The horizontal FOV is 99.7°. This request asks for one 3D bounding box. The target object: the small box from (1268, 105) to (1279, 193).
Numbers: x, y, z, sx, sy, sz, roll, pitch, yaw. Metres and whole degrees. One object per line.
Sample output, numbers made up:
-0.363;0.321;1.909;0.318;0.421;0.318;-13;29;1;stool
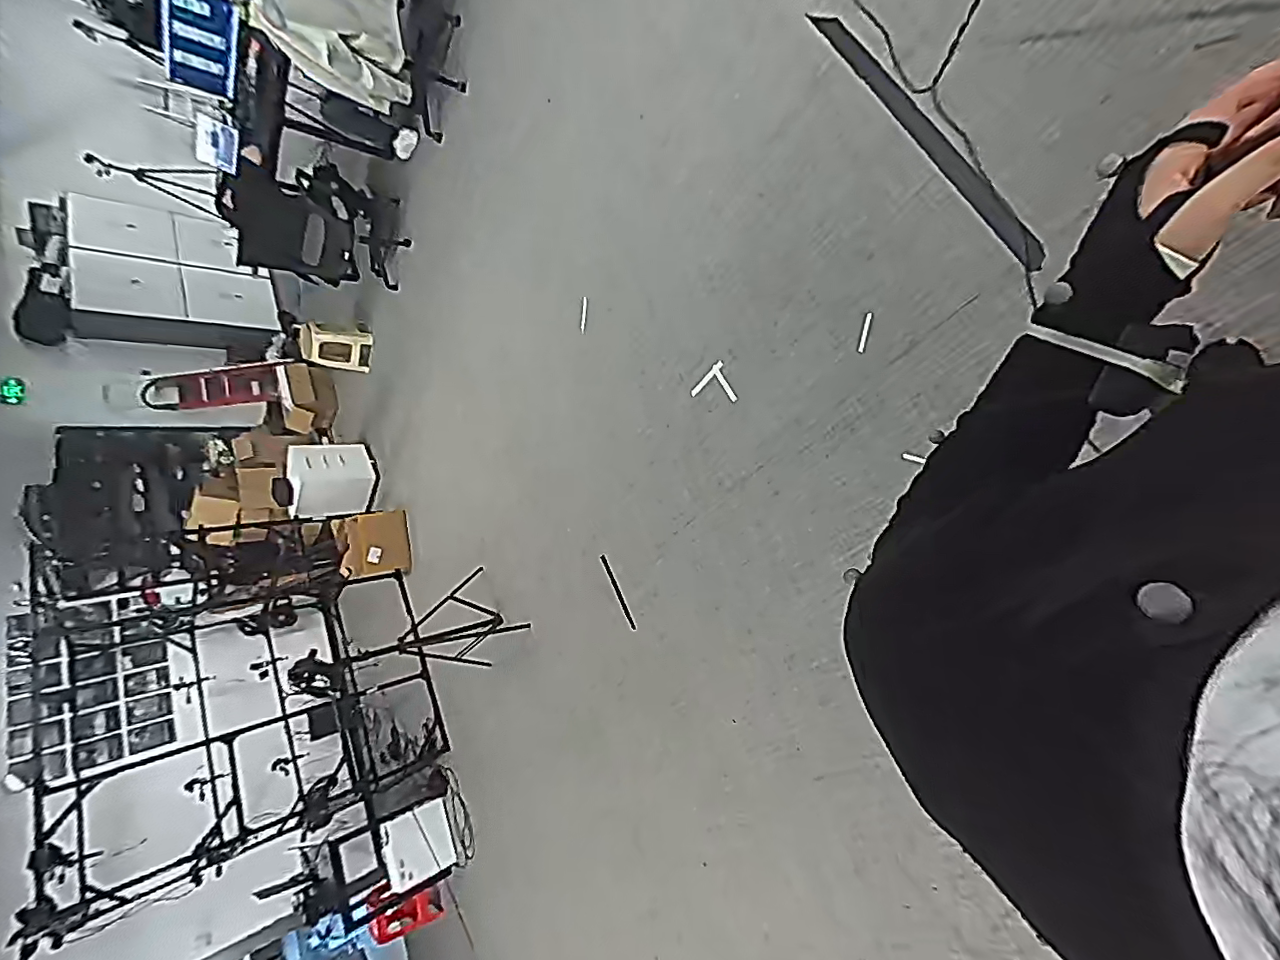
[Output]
0.479;-0.270;0.288;0.168;0.176;0.179;12;109;45;small box
